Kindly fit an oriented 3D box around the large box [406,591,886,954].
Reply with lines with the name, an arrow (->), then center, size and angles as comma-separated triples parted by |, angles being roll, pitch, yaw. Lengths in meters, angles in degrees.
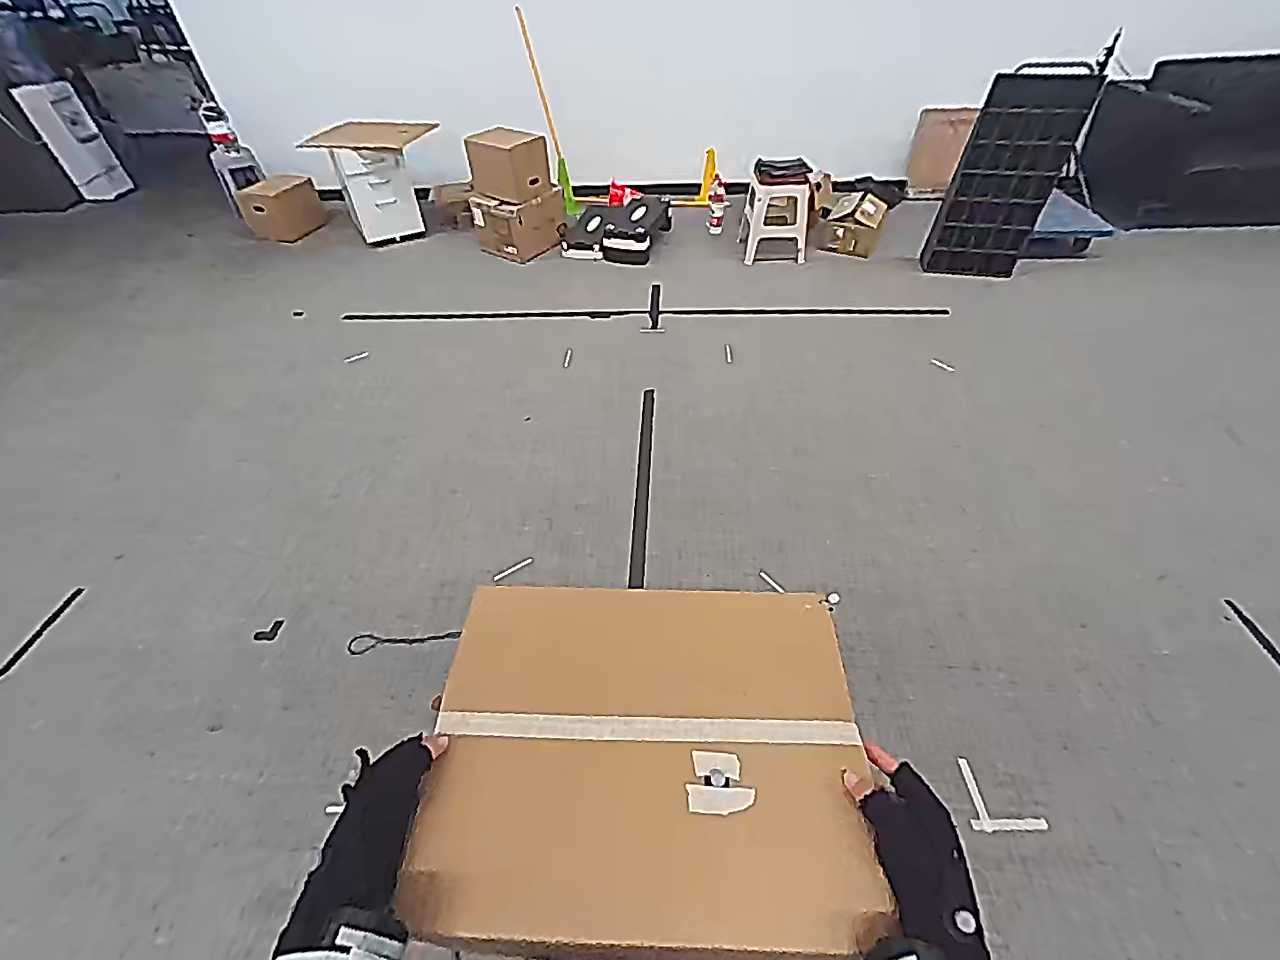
large box -> 0.006, 0.350, 0.648 | 0.408, 0.320, 0.320 | 1, 47, 2
